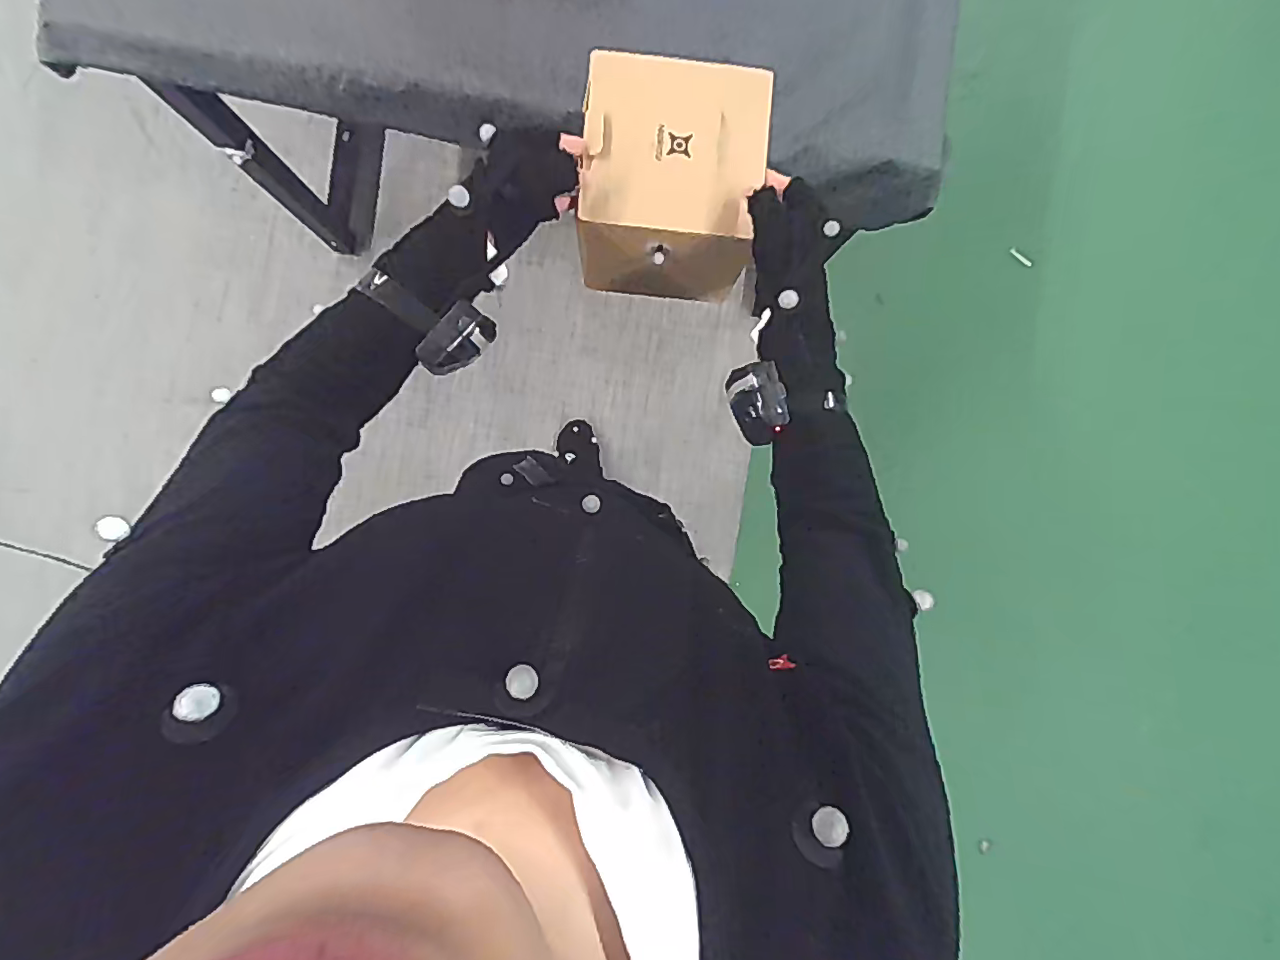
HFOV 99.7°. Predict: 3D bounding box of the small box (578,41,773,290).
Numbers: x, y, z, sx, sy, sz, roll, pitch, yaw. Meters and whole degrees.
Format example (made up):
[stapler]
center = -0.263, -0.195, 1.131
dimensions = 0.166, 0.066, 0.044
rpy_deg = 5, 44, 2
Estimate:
[small box]
center = 0.030, -0.320, 0.586
dimensions = 0.179, 0.176, 0.168
rpy_deg = 4, 88, -4
